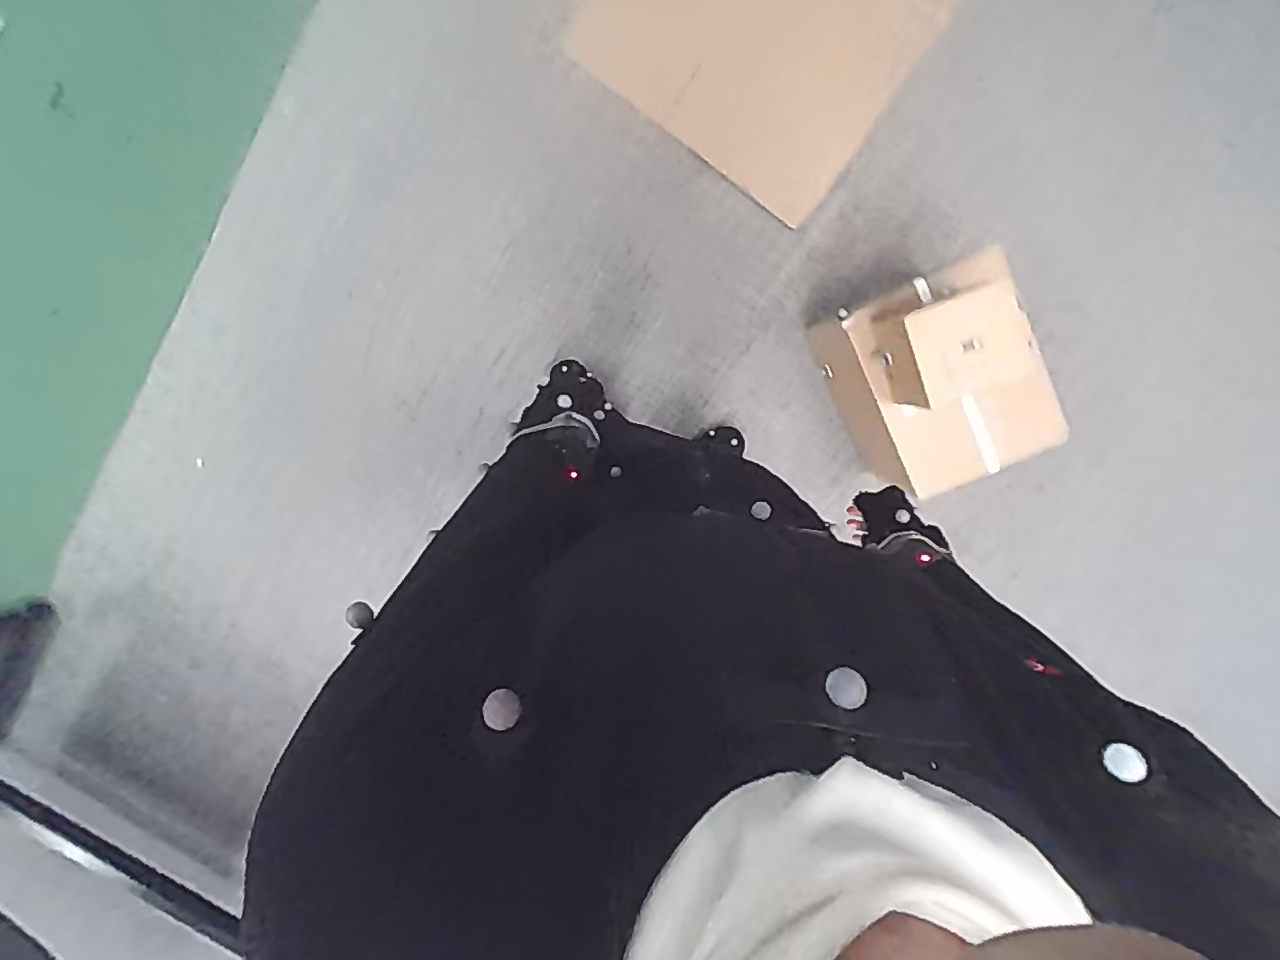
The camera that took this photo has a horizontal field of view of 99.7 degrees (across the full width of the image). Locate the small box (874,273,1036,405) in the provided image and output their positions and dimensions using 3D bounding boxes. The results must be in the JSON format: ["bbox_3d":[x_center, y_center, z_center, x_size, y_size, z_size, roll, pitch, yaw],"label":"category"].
[{"bbox_3d":[0.546,-0.244,0.960,0.179,0.176,0.168,-20,98,10],"label":"small box"}]
